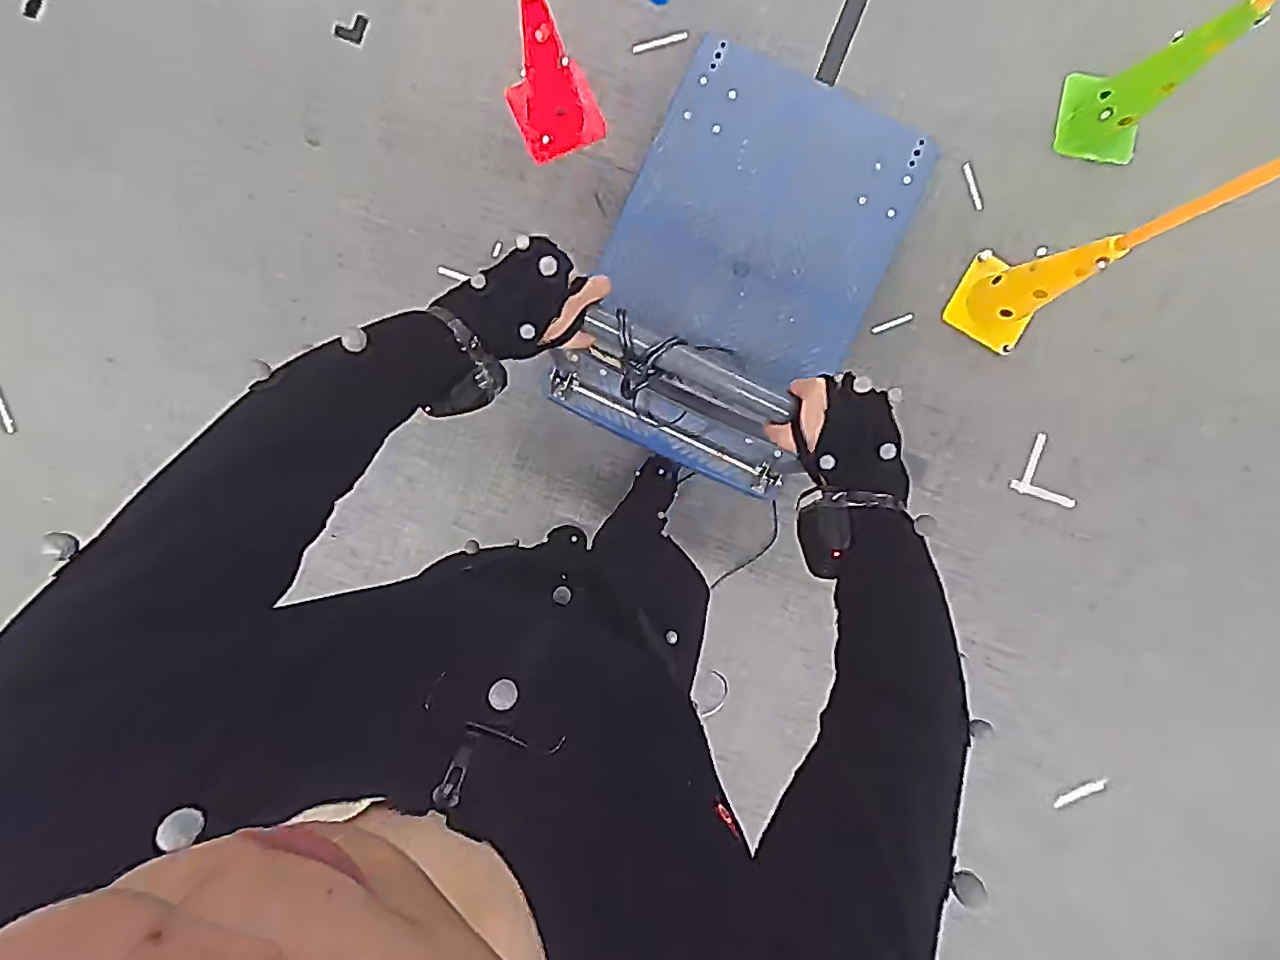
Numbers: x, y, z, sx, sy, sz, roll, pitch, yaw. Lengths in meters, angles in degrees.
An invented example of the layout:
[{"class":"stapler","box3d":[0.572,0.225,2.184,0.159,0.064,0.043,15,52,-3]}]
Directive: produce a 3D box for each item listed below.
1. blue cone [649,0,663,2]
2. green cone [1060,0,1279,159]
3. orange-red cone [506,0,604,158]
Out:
[{"class":"blue cone","box3d":[0.030,-1.277,1.148,0.193,0.380,0.192,36,92,-2]},{"class":"green cone","box3d":[1.148,-0.895,1.163,0.200,0.368,0.202,7,93,-1]},{"class":"orange-red cone","box3d":[-0.200,-0.897,1.141,0.199,0.360,0.198,-24,93,-2]}]
